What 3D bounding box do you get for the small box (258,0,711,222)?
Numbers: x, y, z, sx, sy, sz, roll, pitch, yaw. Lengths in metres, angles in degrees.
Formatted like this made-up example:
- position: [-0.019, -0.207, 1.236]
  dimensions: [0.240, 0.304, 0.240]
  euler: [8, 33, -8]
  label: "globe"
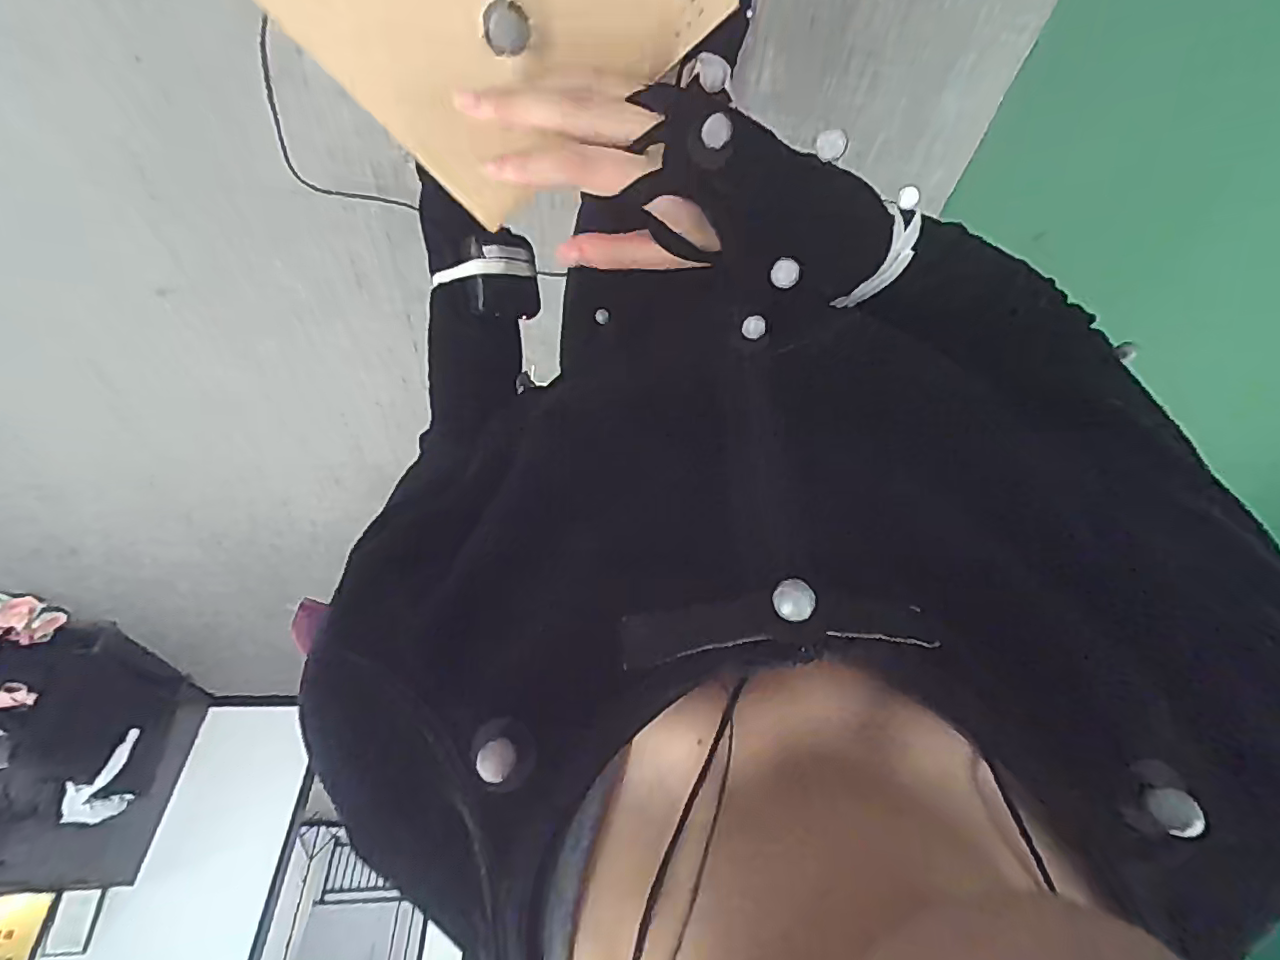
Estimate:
- position: [-0.079, -0.280, 0.268]
  dimensions: [0.176, 0.179, 0.168]
  euler: [-30, 138, 22]
  label: "small box"
